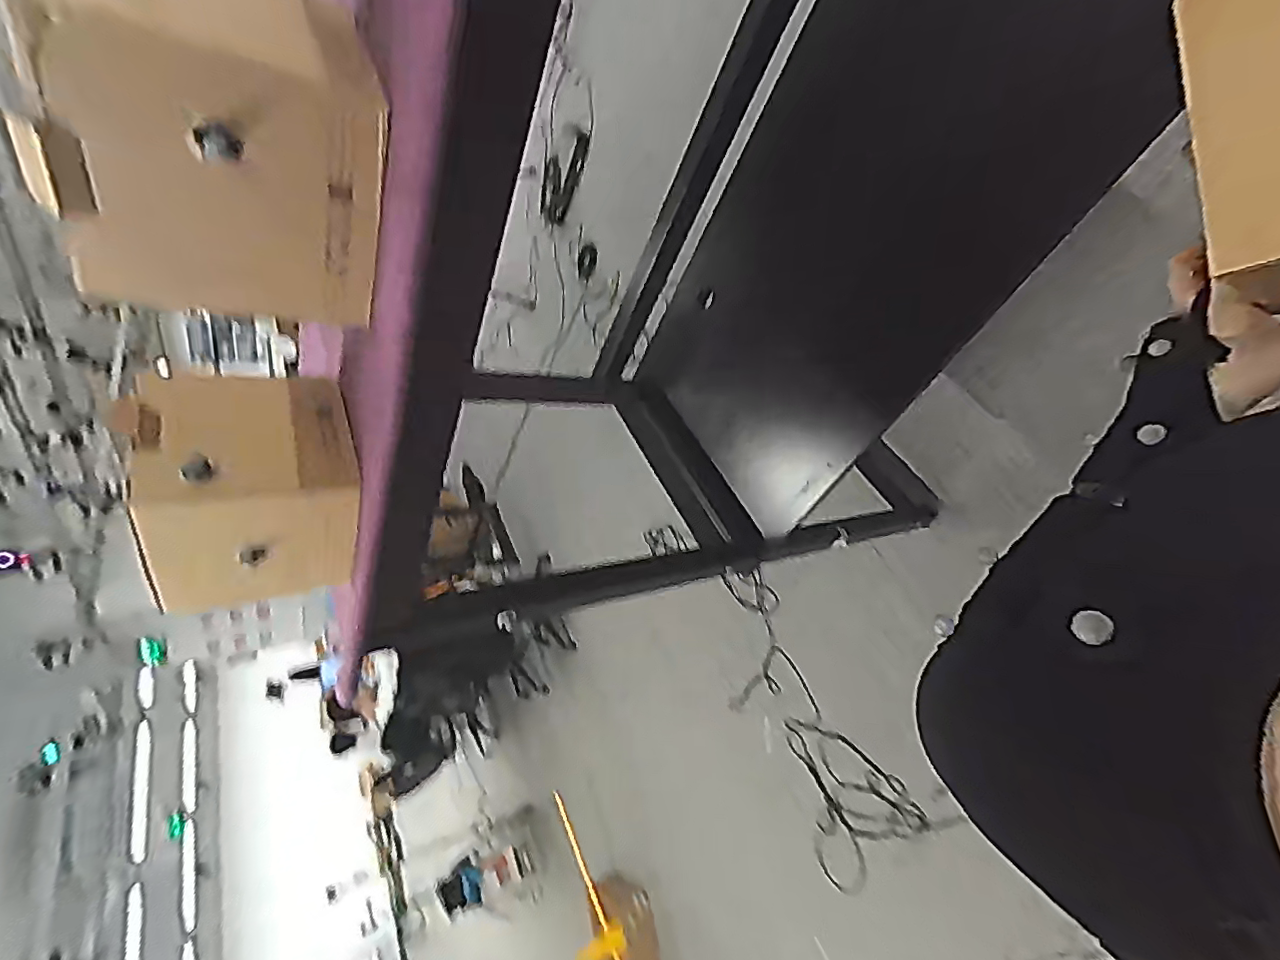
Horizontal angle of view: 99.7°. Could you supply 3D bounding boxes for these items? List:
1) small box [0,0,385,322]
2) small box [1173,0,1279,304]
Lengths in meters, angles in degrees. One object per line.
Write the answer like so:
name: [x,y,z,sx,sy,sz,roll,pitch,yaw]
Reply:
small box: [-0.286,-0.228,0.377,0.179,0.176,0.168,61,137,31]
small box: [0.422,-0.204,0.278,0.179,0.176,0.168,-7,87,55]
